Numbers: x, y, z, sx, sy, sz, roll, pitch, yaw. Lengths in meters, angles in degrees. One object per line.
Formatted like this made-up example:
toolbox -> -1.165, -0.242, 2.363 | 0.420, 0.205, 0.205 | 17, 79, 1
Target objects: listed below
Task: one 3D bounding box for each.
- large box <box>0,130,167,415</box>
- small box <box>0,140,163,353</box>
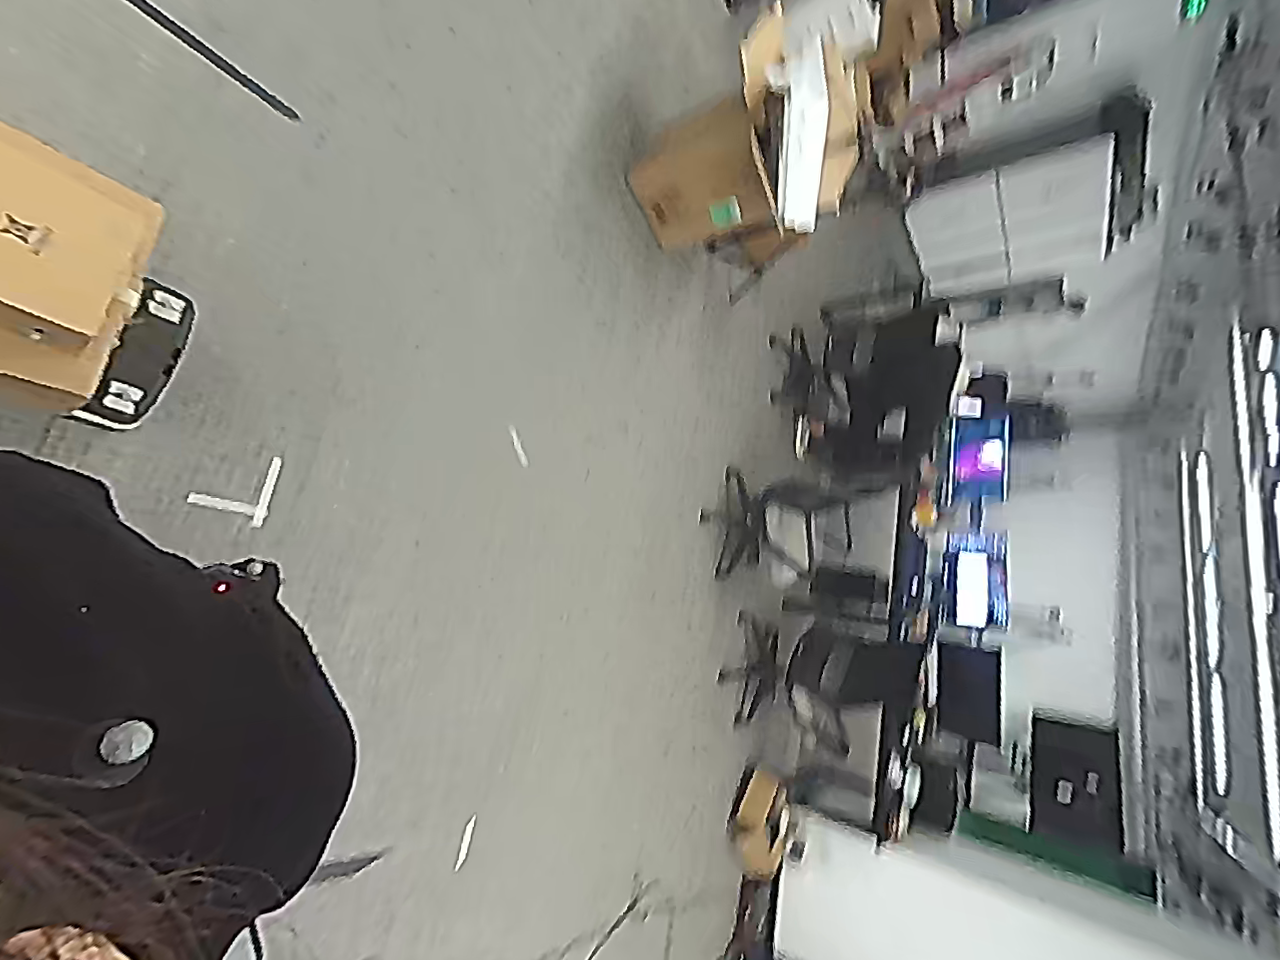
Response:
large box -> -0.969, -0.305, 0.734 | 0.408, 0.320, 0.320 | 24, 70, -47
small box -> -0.726, -0.266, 0.643 | 0.179, 0.176, 0.168 | 29, 68, -47
